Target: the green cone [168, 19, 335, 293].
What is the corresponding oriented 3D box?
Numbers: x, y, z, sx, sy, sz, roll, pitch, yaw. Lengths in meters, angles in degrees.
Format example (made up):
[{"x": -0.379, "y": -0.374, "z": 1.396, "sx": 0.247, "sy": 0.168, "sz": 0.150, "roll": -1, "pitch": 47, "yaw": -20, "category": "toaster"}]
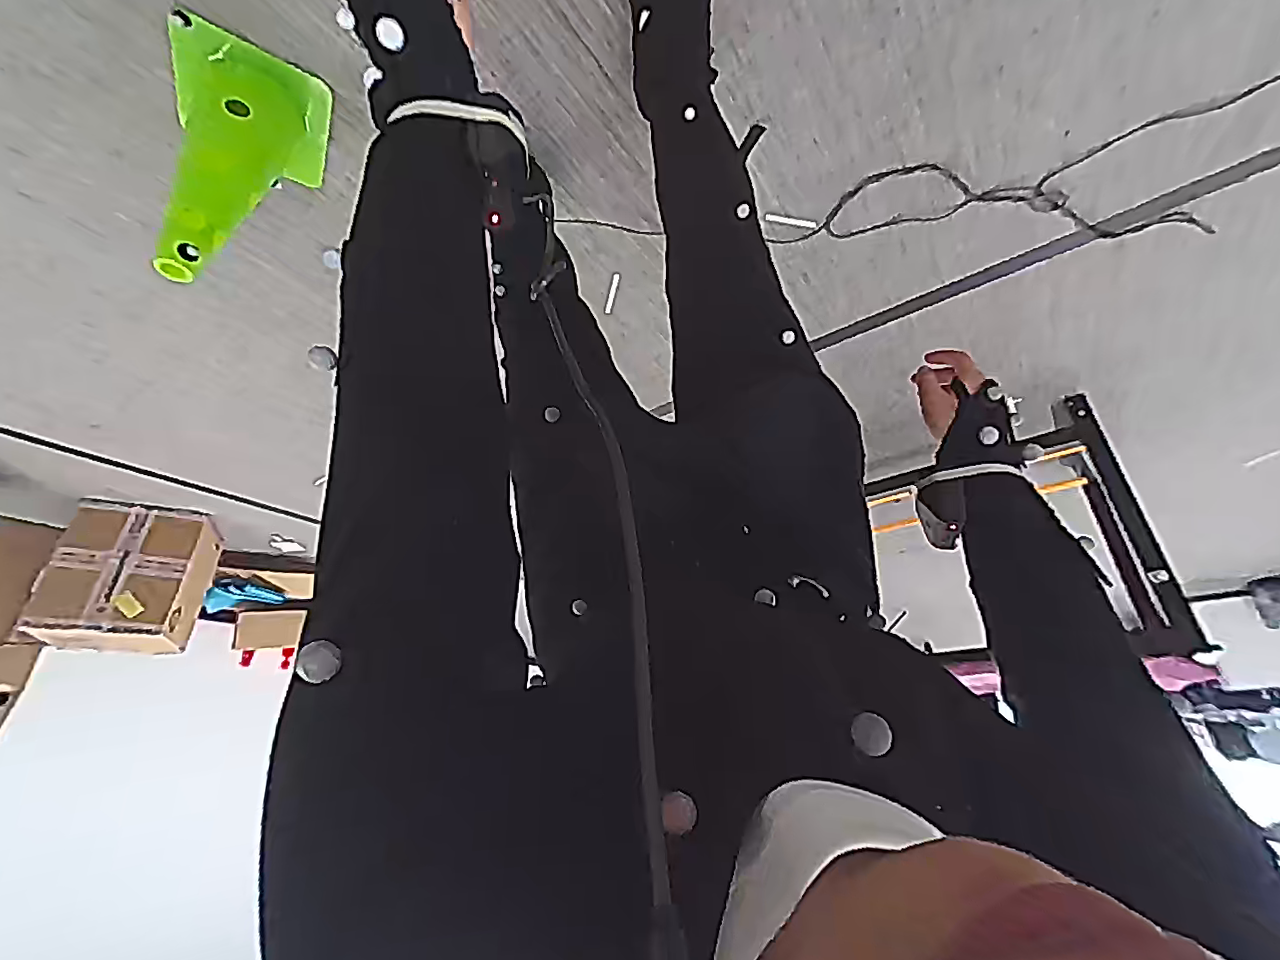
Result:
[{"x": -0.589, "y": -0.412, "z": 0.766, "sx": 0.202, "sy": 0.368, "sz": 0.200, "roll": 13, "pitch": 150, "yaw": -29, "category": "green cone"}]
